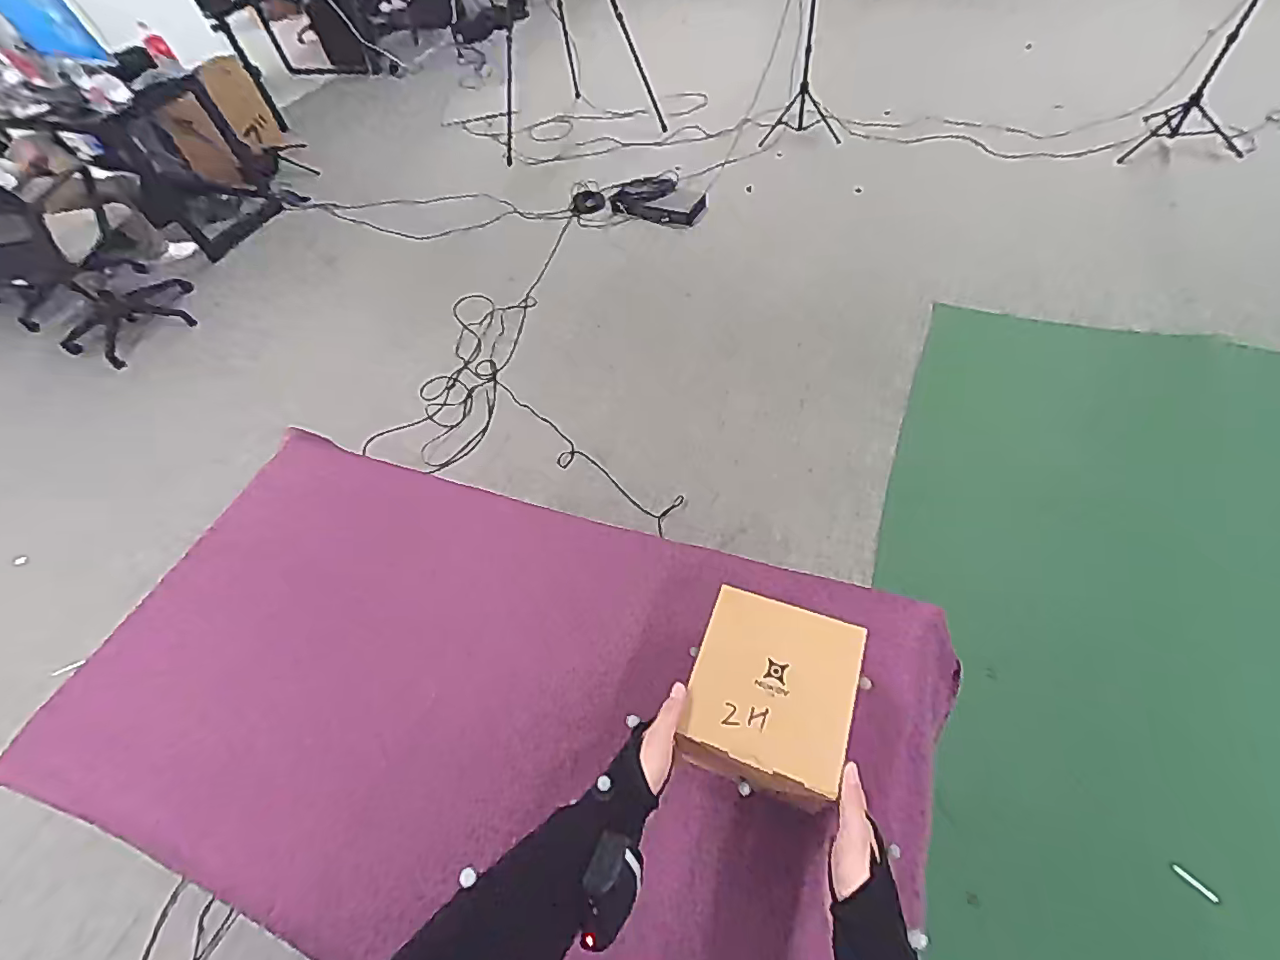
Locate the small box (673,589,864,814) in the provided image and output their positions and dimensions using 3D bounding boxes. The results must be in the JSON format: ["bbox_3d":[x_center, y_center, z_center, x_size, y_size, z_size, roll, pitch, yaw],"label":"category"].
[{"bbox_3d":[0.147,0.262,0.636,0.168,0.176,0.179,15,58,19],"label":"small box"}]
